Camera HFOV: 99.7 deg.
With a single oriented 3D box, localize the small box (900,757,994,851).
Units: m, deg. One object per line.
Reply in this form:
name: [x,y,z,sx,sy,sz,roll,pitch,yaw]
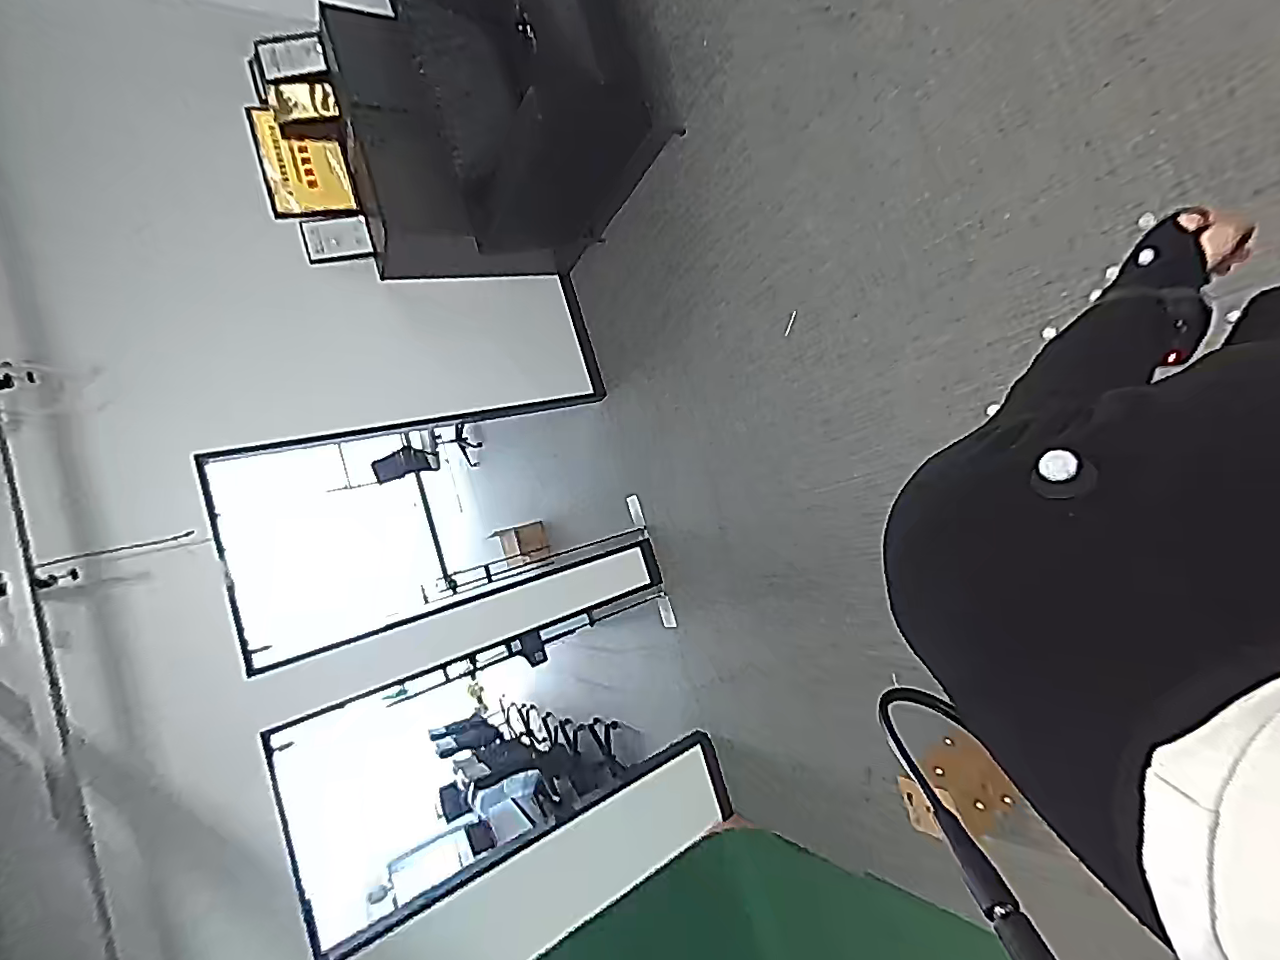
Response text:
small box: [0.935,0.968,1.636,0.179,0.176,0.168,-23,82,59]
